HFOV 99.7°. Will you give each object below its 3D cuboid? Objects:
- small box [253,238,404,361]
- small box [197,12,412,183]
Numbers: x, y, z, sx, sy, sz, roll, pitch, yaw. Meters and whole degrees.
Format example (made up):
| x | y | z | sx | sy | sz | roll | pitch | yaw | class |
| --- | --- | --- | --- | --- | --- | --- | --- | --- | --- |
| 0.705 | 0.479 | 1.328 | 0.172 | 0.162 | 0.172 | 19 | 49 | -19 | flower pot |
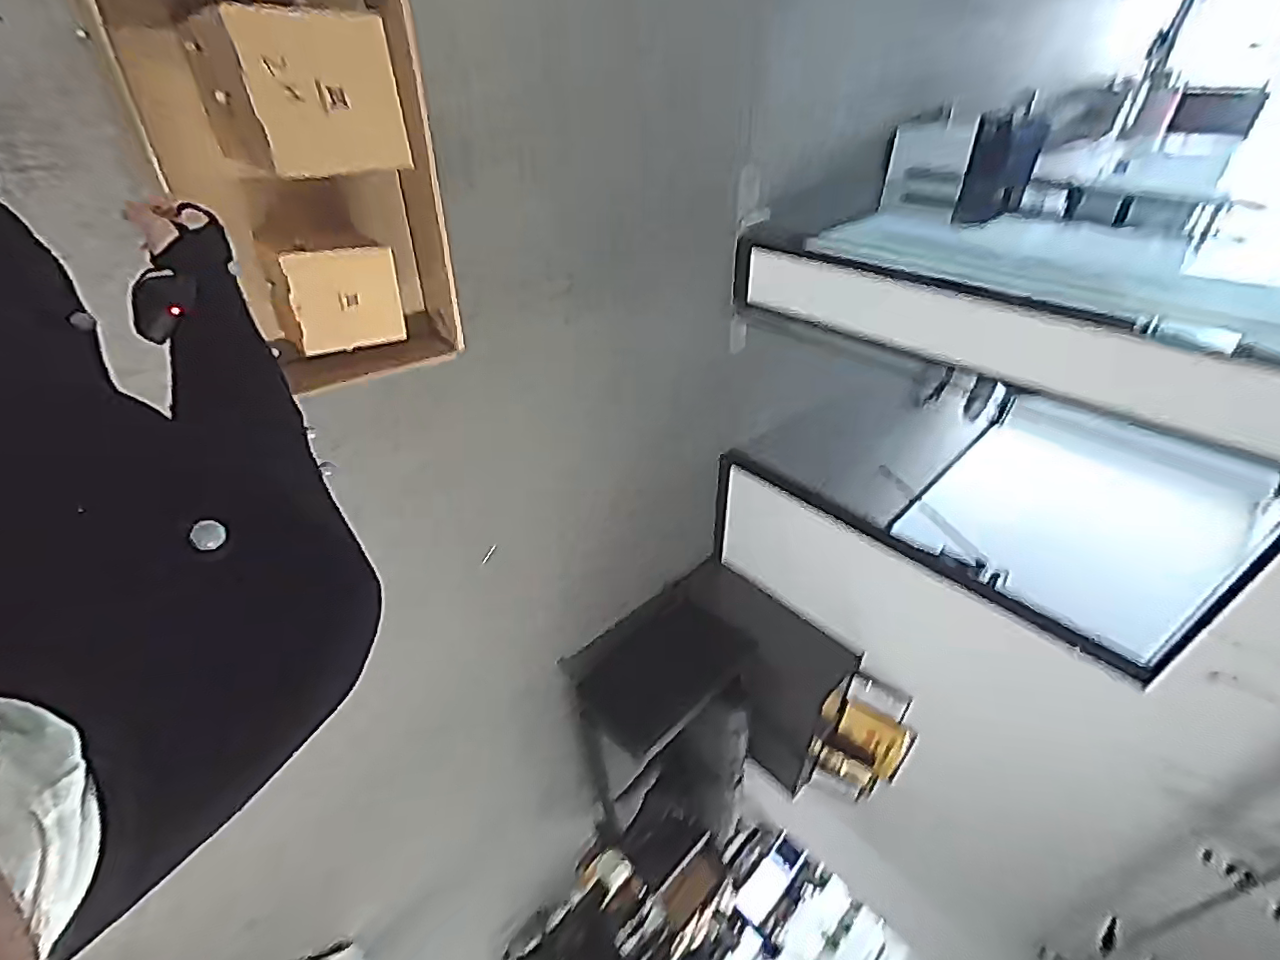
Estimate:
| x | y | z | sx | sy | sz | roll | pitch | yaw | class |
| --- | --- | --- | --- | --- | --- | --- | --- | --- | --- |
| -0.559 | -0.335 | 0.979 | 0.179 | 0.176 | 0.168 | -24 | 133 | -36 | small box |
| -0.438 | -0.500 | 0.716 | 0.179 | 0.176 | 0.168 | -28 | 134 | -34 | small box |
